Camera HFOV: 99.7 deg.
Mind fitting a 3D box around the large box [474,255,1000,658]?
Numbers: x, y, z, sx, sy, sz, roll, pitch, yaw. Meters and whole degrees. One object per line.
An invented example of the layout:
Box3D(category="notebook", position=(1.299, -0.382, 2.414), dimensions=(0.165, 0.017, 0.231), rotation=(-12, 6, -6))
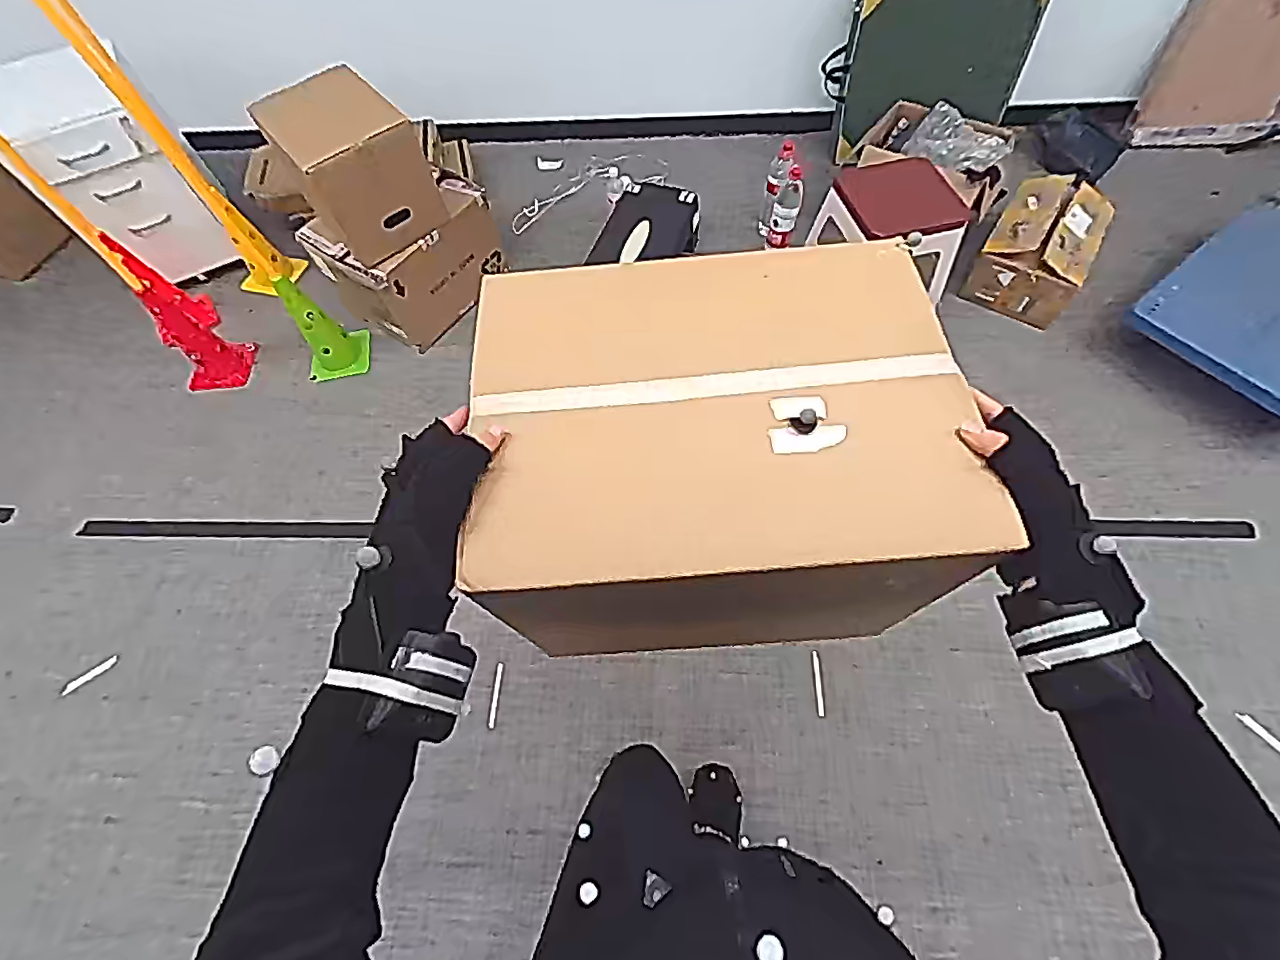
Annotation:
Box3D(category="large box", position=(0.065, -0.002, 0.599), dimensions=(0.408, 0.320, 0.320), rotation=(-5, 64, 0))
